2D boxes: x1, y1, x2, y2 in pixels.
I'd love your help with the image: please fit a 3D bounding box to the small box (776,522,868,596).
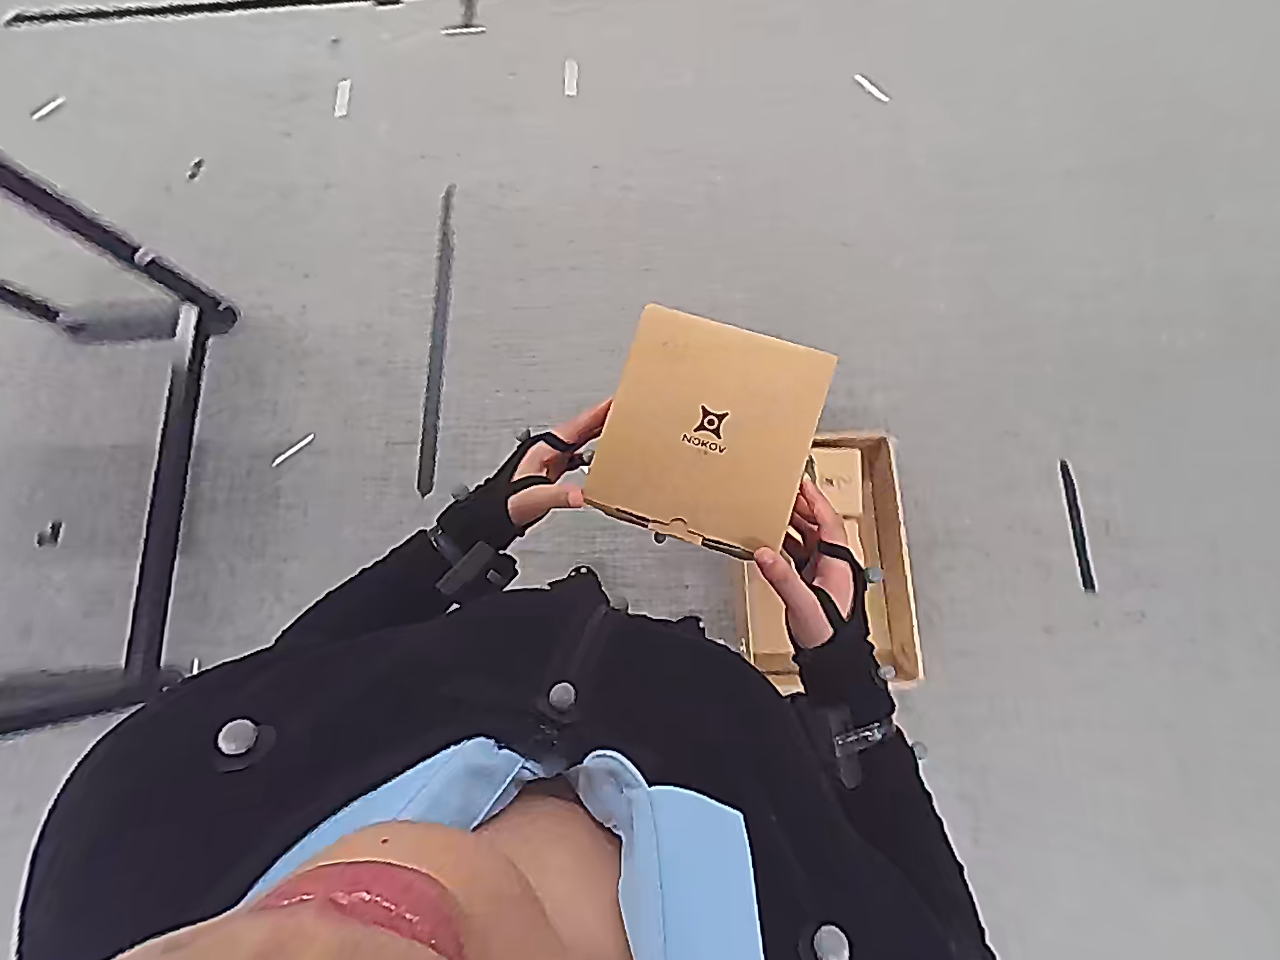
[{"bbox_3d":[0.451,0.204,1.371,0.179,0.176,0.168,-5,79,1],"label":"small box"}]
